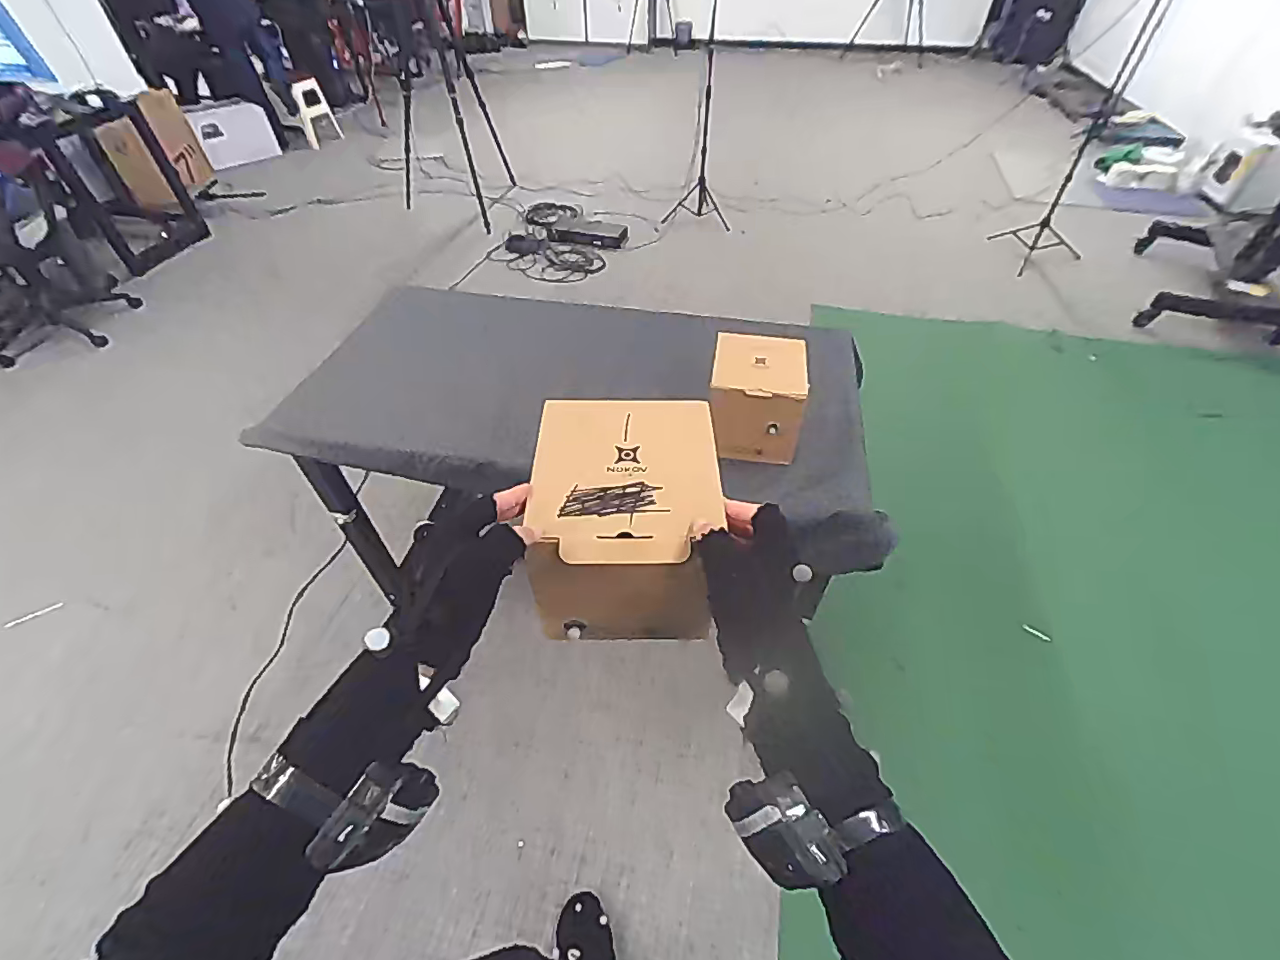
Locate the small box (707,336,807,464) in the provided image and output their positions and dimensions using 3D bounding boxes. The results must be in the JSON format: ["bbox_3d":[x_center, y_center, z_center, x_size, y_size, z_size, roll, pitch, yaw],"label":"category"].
[{"bbox_3d":[0.216,-0.150,1.029,0.168,0.176,0.179,7,46,6],"label":"small box"}]

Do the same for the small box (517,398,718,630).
[{"bbox_3d":[-0.016,0.037,0.543,0.168,0.176,0.179,0,46,0],"label":"small box"}]
